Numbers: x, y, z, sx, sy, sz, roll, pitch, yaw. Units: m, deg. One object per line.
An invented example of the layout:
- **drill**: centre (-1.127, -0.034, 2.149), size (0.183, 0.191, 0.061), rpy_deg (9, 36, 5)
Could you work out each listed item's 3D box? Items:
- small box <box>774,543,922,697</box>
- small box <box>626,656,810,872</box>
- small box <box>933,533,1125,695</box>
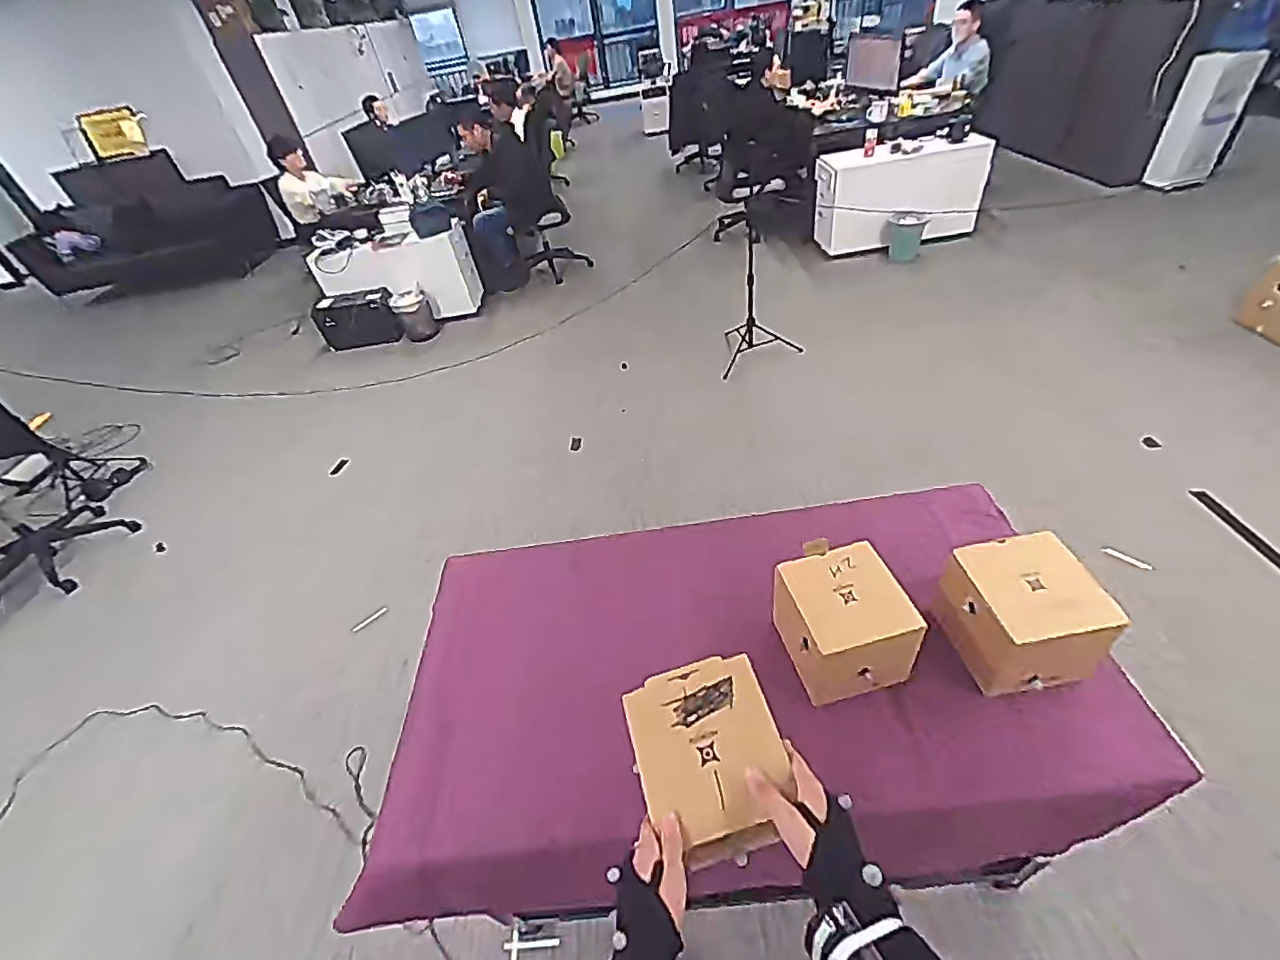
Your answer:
- **small box**: centre (0.335, 0.240, 0.906), size (0.168, 0.176, 0.179), rpy_deg (-14, 41, -4)
- **small box**: centre (0.095, 0.354, 0.671), size (0.168, 0.176, 0.179), rpy_deg (-20, 48, 0)
- **small box**: centre (0.604, 0.216, 0.873), size (0.168, 0.176, 0.179), rpy_deg (-11, 41, 1)
